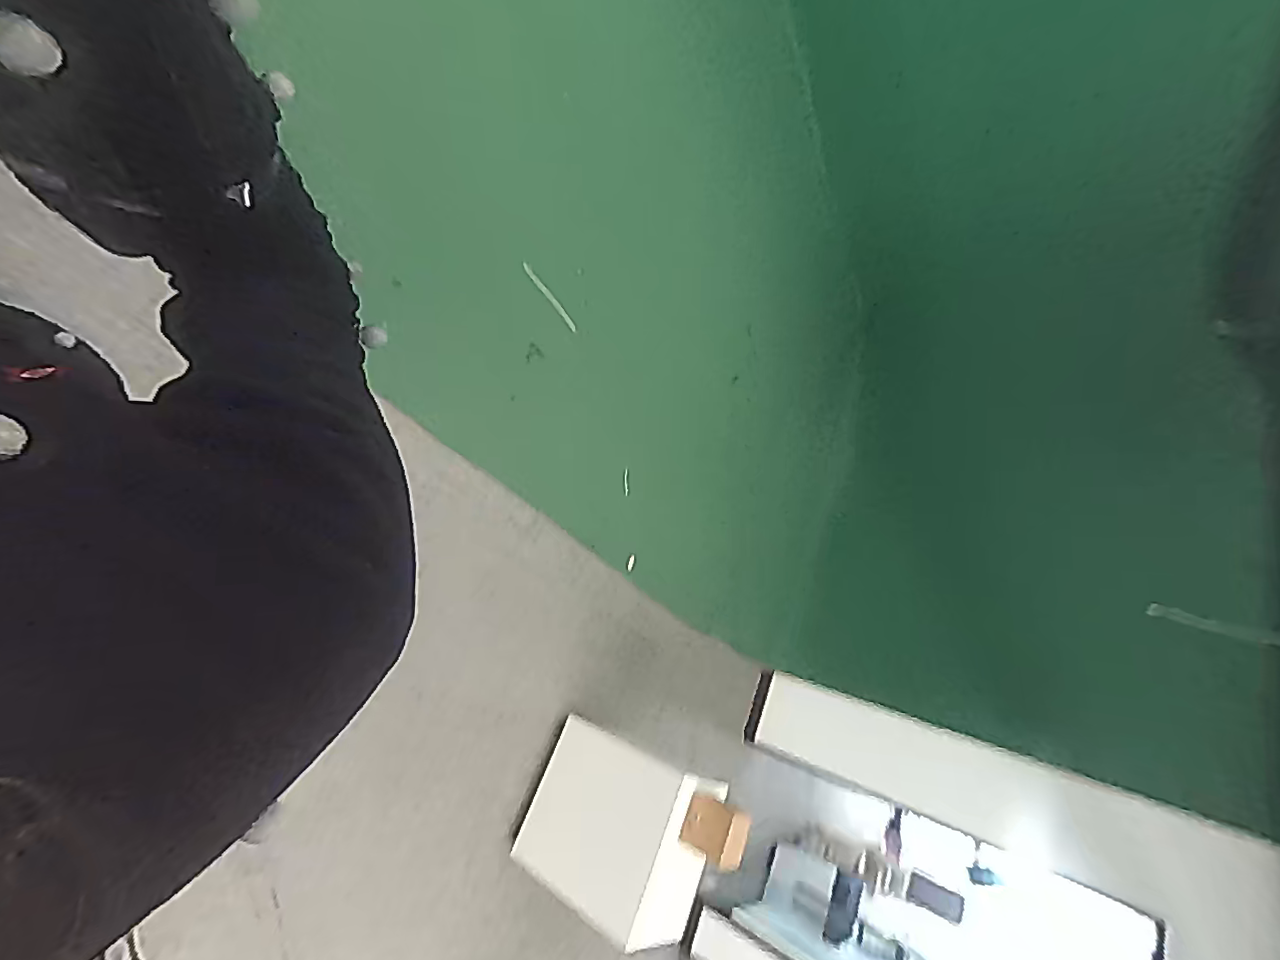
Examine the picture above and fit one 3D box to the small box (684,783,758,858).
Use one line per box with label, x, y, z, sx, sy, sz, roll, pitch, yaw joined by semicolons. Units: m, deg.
small box;0.279;1.173;1.868;0.179;0.176;0.168;41;64;-45
